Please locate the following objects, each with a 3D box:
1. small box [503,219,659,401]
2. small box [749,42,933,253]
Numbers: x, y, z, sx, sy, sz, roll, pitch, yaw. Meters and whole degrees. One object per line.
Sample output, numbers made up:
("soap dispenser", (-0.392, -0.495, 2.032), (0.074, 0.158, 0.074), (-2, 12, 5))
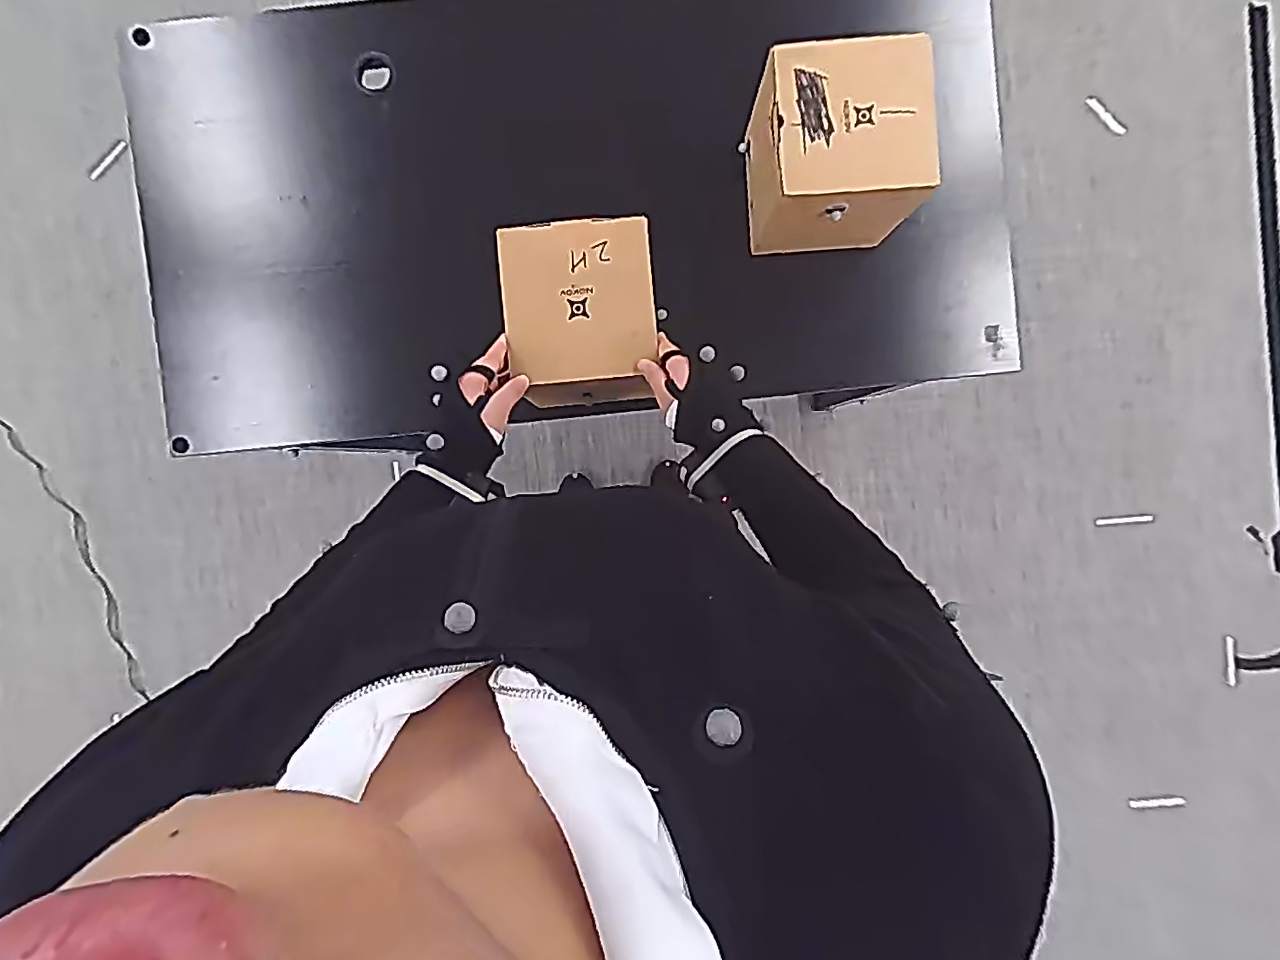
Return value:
("small box", (-0.065, -0.196, 0.677), (0.168, 0.176, 0.179), (-5, 90, -1))
("small box", (0.237, -0.401, 0.682), (0.179, 0.176, 0.168), (-3, 91, 0))
